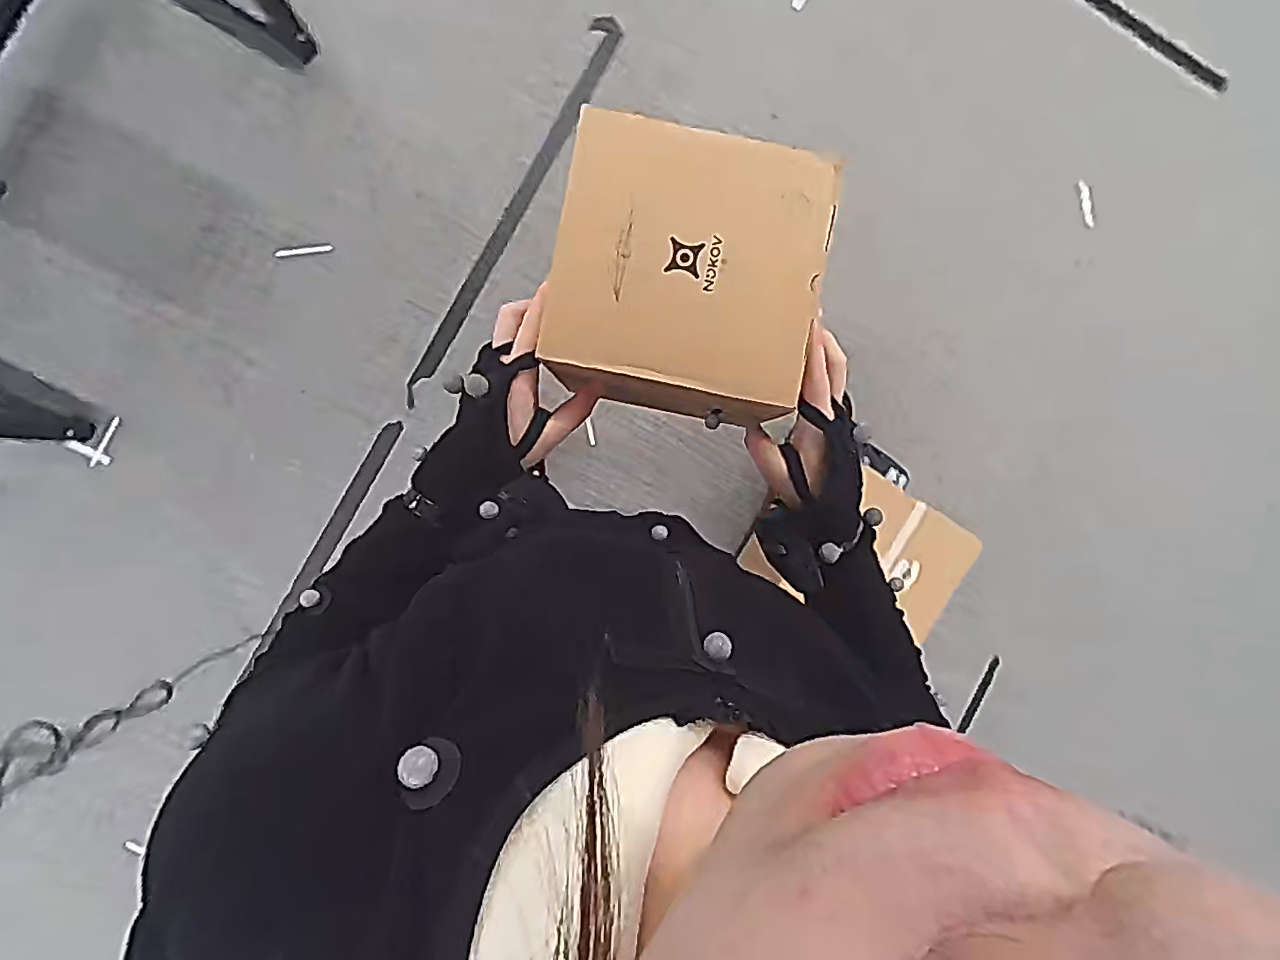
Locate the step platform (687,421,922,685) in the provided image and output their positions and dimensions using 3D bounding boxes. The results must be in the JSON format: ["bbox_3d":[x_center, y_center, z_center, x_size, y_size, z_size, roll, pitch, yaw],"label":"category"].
[{"bbox_3d":[0.426,0.181,1.423,0.286,0.204,0.684,35,88,-4],"label":"step platform"}]

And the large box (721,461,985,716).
[{"bbox_3d":[0.433,0.211,1.185,0.320,0.320,0.408,33,88,-5],"label":"large box"}]

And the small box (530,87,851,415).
[{"bbox_3d":[0.031,-0.148,0.415,0.179,0.176,0.168,11,91,0],"label":"small box"}]
